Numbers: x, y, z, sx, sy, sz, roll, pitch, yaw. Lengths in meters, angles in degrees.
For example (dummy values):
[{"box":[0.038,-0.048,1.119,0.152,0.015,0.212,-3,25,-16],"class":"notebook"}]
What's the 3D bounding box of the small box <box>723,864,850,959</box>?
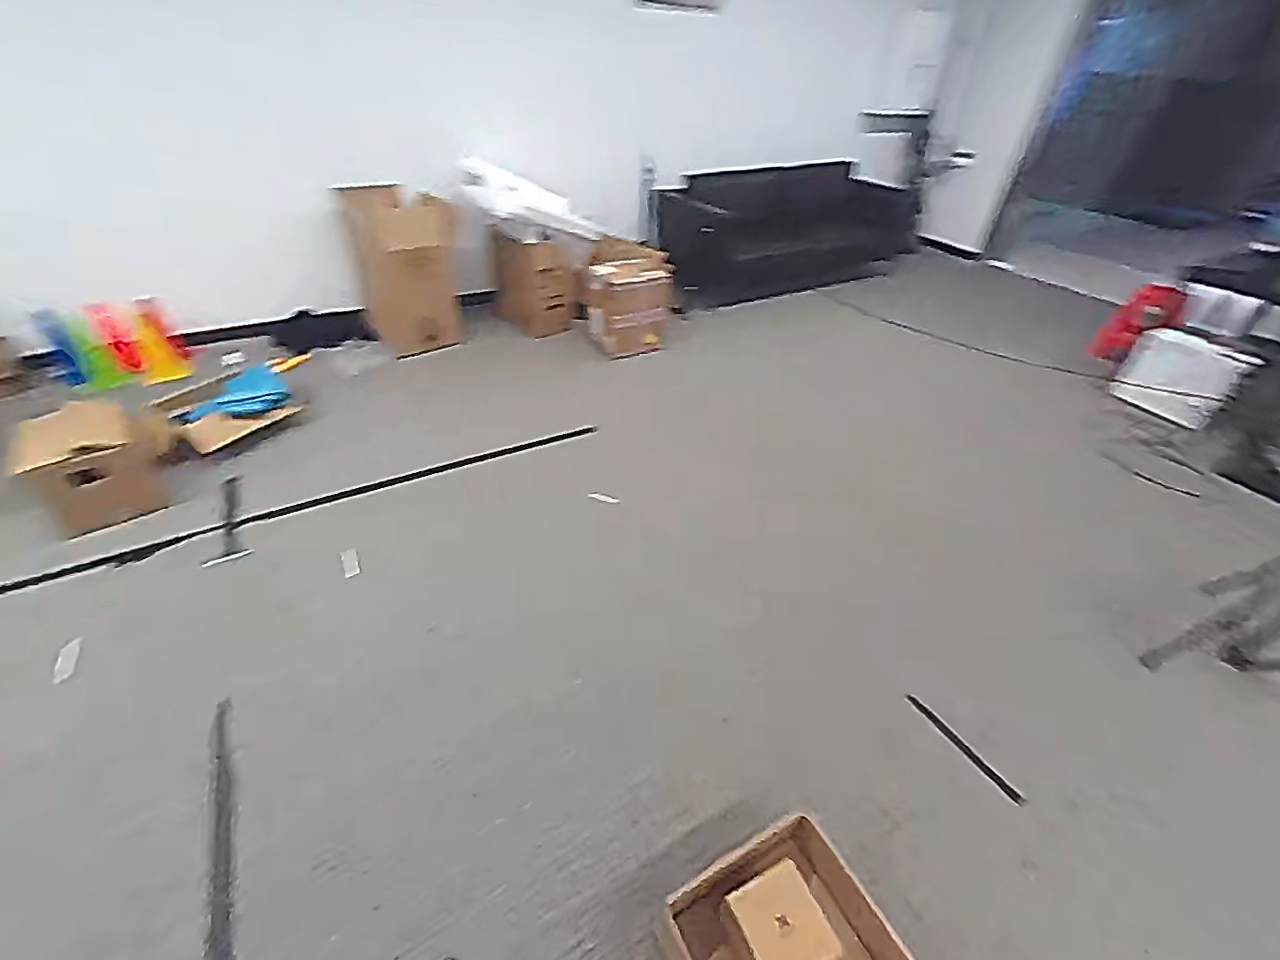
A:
[{"box":[0.291,0.945,1.113,0.168,0.176,0.179,-14,41,-21],"class":"small box"}]
